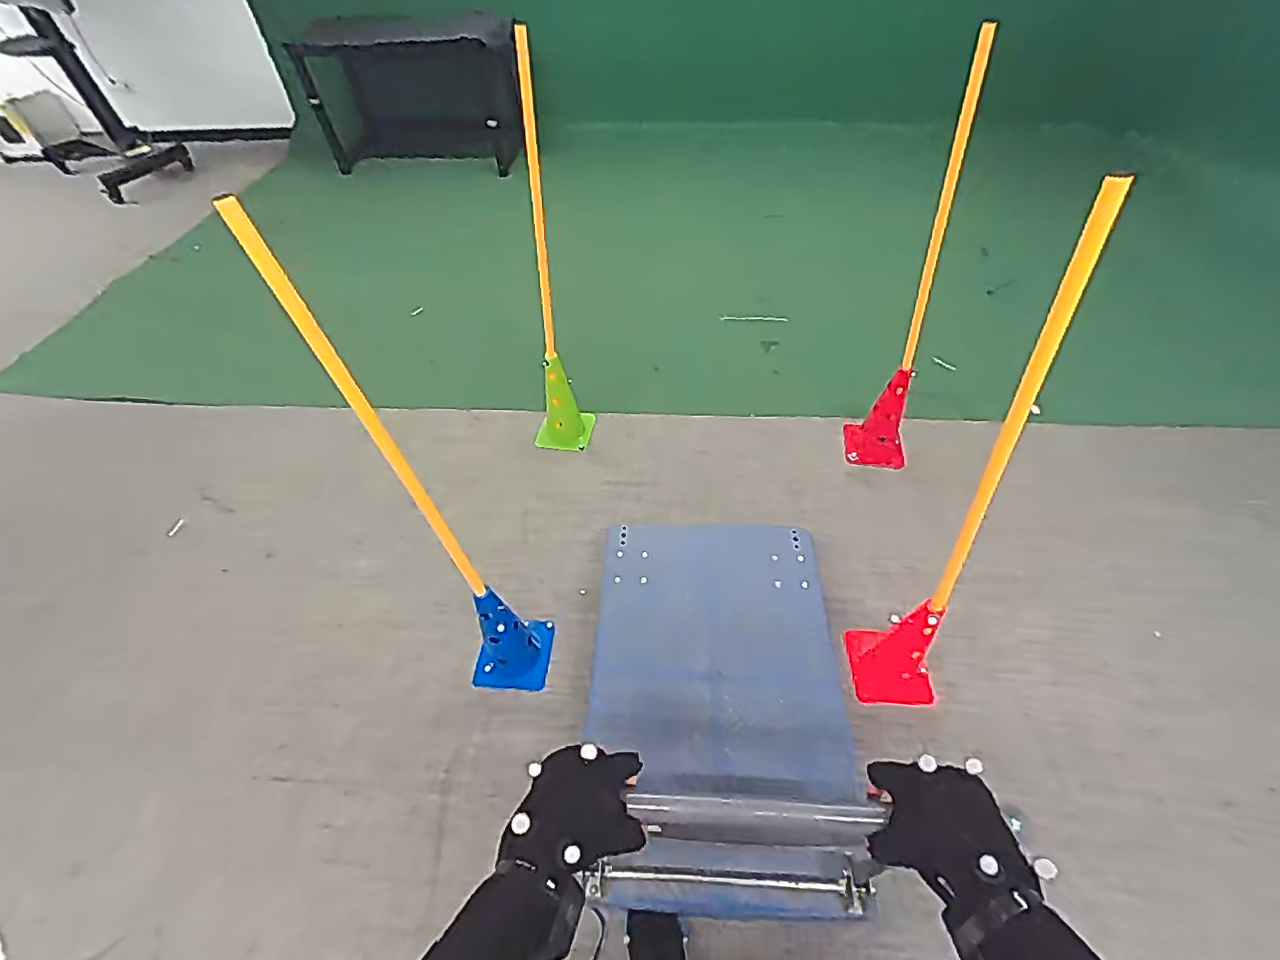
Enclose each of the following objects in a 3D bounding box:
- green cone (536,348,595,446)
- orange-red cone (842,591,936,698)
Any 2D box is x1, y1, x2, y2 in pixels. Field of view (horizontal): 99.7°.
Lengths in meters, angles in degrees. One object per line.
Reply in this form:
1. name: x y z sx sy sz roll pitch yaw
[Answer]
1. green cone: -0.293 -0.317 1.944 0.202 0.368 0.200 5 50 8
2. orange-red cone: 0.647 0.376 1.330 0.199 0.360 0.198 0 50 5
